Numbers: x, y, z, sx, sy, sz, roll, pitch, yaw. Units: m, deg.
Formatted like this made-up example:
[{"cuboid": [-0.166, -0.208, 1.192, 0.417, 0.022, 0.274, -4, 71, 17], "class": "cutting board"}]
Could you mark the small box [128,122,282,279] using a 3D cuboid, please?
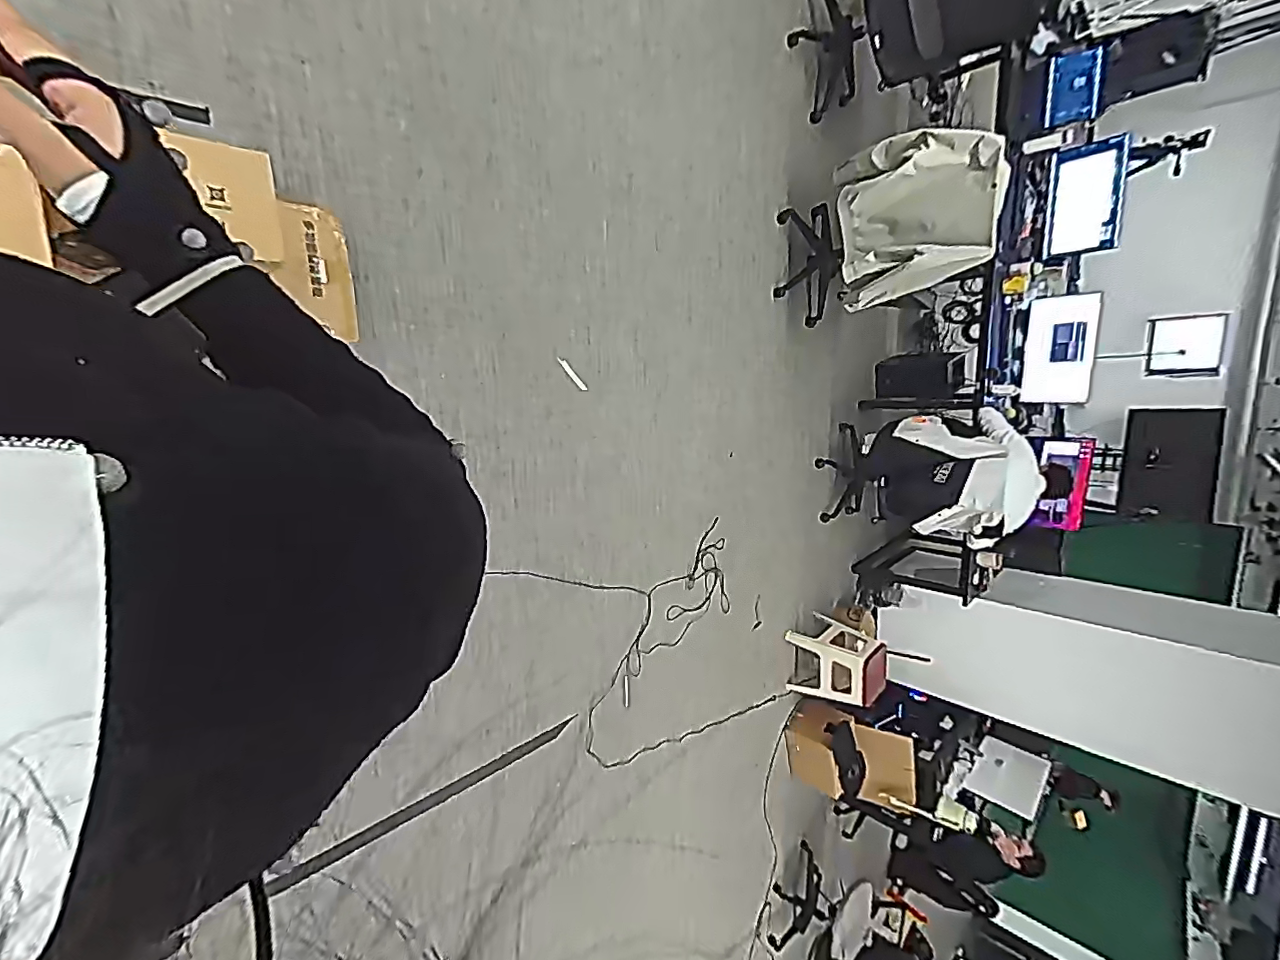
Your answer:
[{"cuboid": [-0.725, -0.448, 0.900, 0.168, 0.176, 0.179, -12, 104, -44], "class": "small box"}]

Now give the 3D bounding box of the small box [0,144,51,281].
[{"cuboid": [-1.033, -0.411, 0.823, 0.168, 0.176, 0.179, -10, 103, -45], "class": "small box"}]

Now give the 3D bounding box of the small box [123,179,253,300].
[{"cuboid": [-0.847, -0.448, 1.013, 0.168, 0.176, 0.179, -7, 101, -45], "class": "small box"}]
